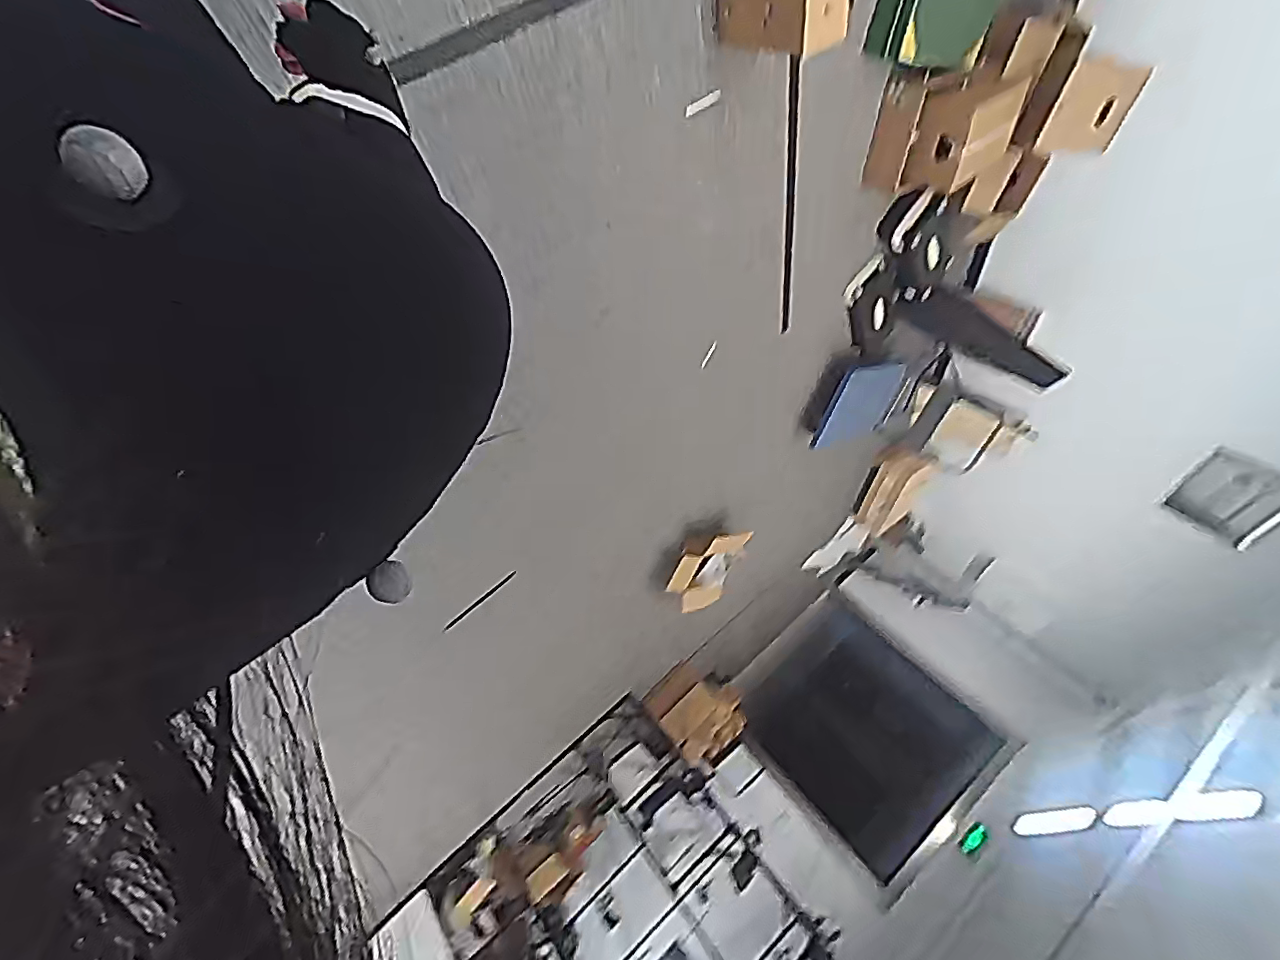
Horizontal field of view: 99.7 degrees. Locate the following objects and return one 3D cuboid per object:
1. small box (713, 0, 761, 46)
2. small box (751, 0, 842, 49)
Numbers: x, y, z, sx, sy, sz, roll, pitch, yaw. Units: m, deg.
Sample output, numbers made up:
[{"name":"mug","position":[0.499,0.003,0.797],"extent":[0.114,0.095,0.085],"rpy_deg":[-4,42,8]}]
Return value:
[{"name":"small box","position":[0.321,-1.377,1.533],"extent":[0.168,0.176,0.179],"rpy_deg":[-38,148,-17]},{"name":"small box","position":[0.418,-1.287,1.438],"extent":[0.179,0.176,0.168],"rpy_deg":[-36,145,-16]}]
